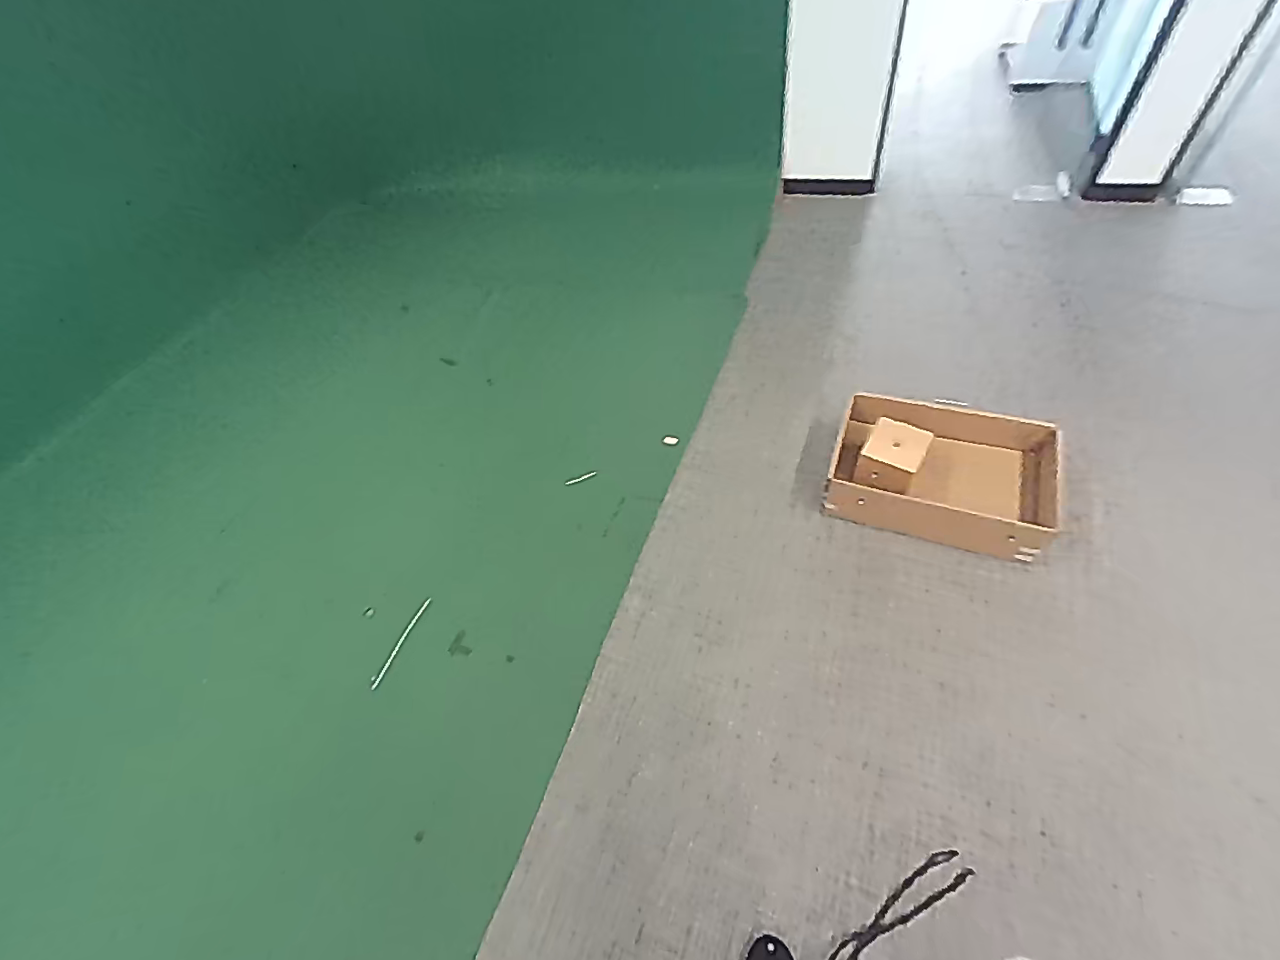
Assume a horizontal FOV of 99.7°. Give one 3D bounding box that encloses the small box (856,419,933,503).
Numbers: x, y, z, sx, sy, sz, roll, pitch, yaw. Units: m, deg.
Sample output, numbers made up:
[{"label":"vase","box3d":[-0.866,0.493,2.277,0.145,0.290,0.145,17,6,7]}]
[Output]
[{"label":"small box","box3d":[0.804,-0.057,1.726,0.168,0.176,0.179,24,61,26]}]
